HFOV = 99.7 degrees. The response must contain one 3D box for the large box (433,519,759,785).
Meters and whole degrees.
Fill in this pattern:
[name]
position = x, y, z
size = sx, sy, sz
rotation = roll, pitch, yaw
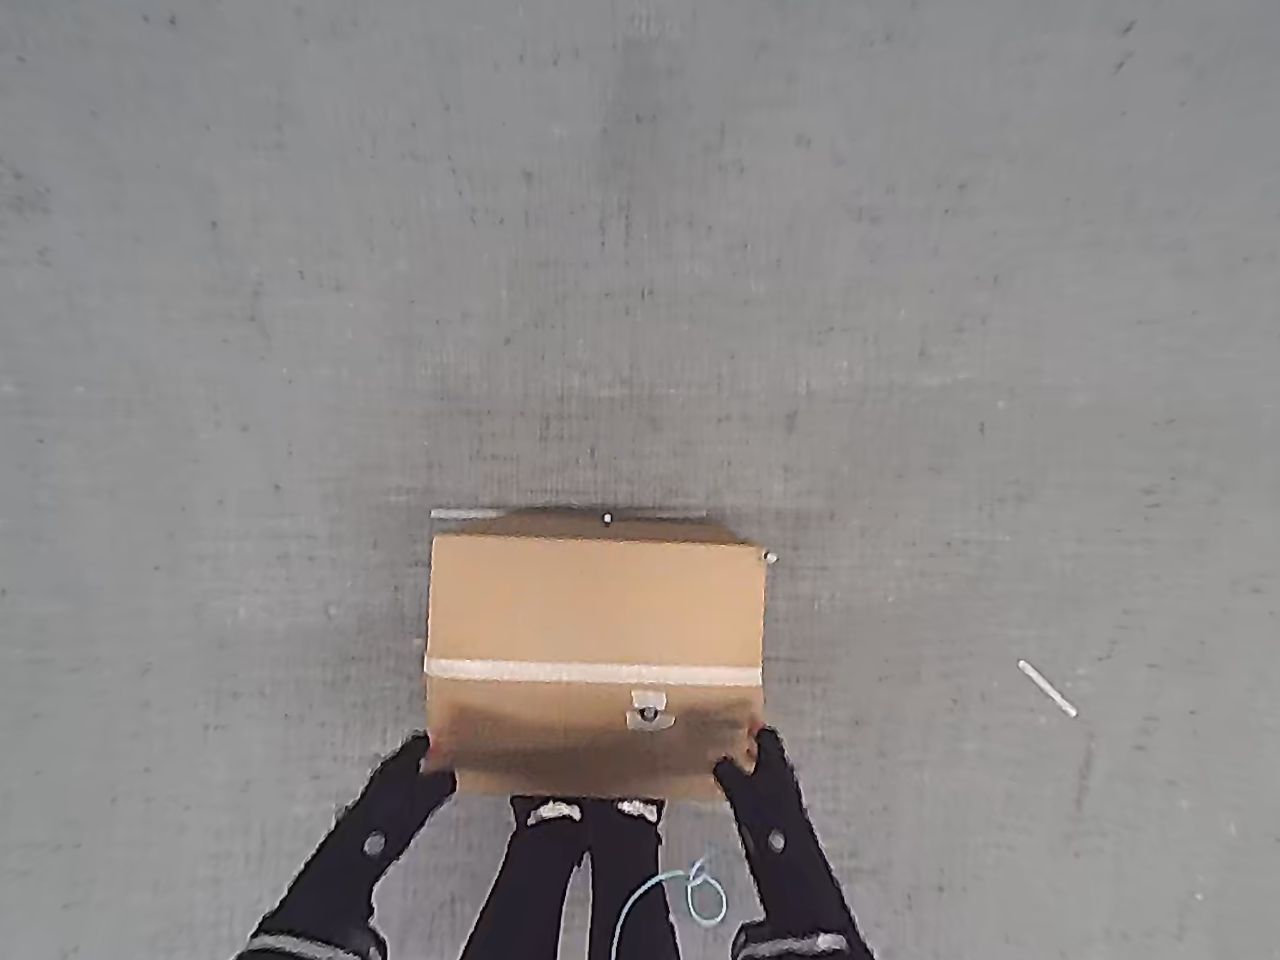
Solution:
[large box]
position = -0.058, 0.222, 0.813
size = 0.408, 0.320, 0.320
rotation = 2, 91, -1
